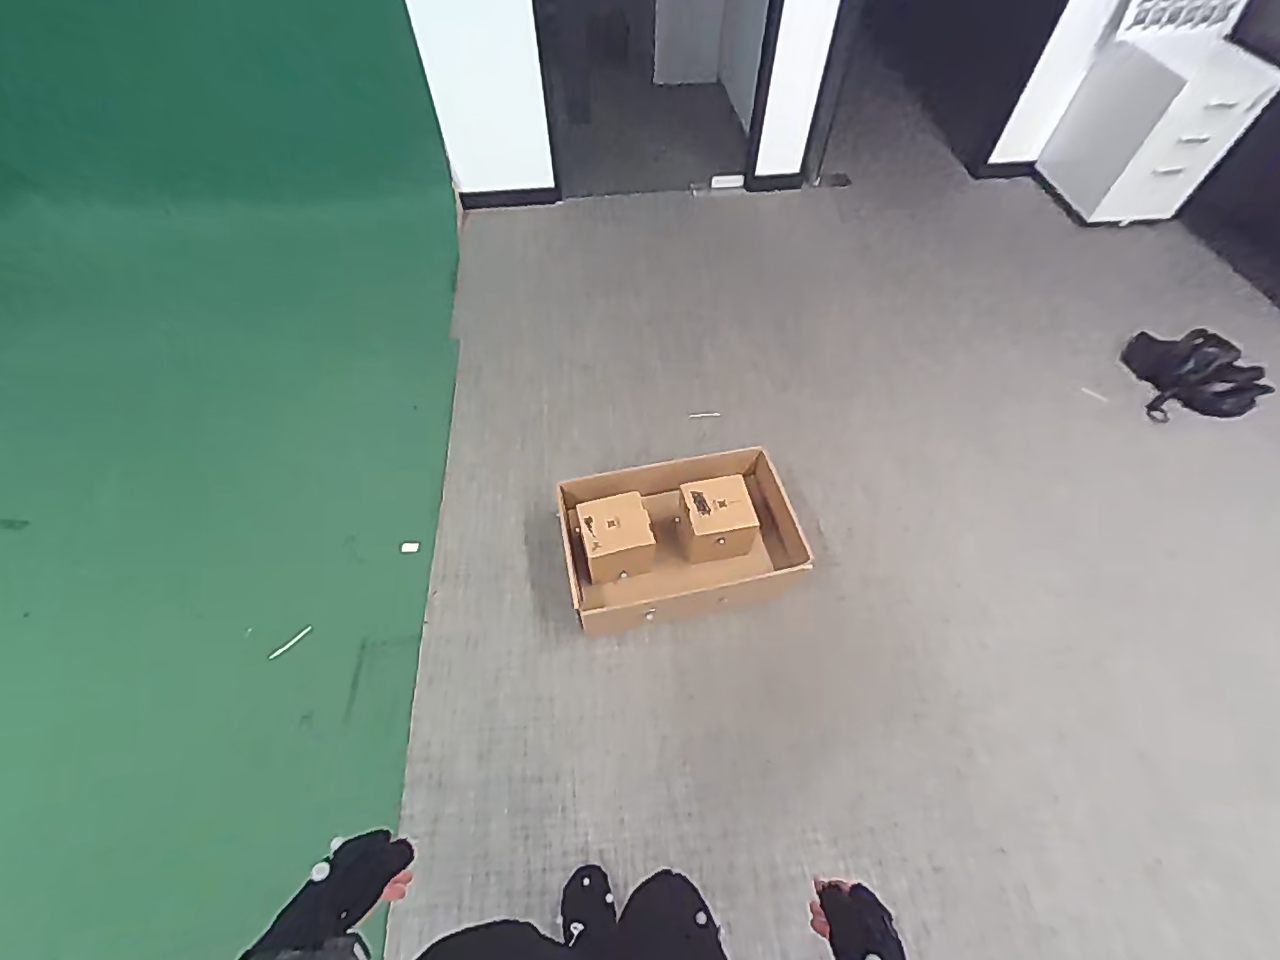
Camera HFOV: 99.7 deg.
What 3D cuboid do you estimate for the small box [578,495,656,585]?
[{"bbox_3d":[-0.065,0.164,1.465,0.179,0.176,0.168,-11,56,-10],"label":"small box"}]

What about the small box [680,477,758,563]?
[{"bbox_3d":[0.210,0.116,1.500,0.179,0.176,0.168,-9,56,-5],"label":"small box"}]
